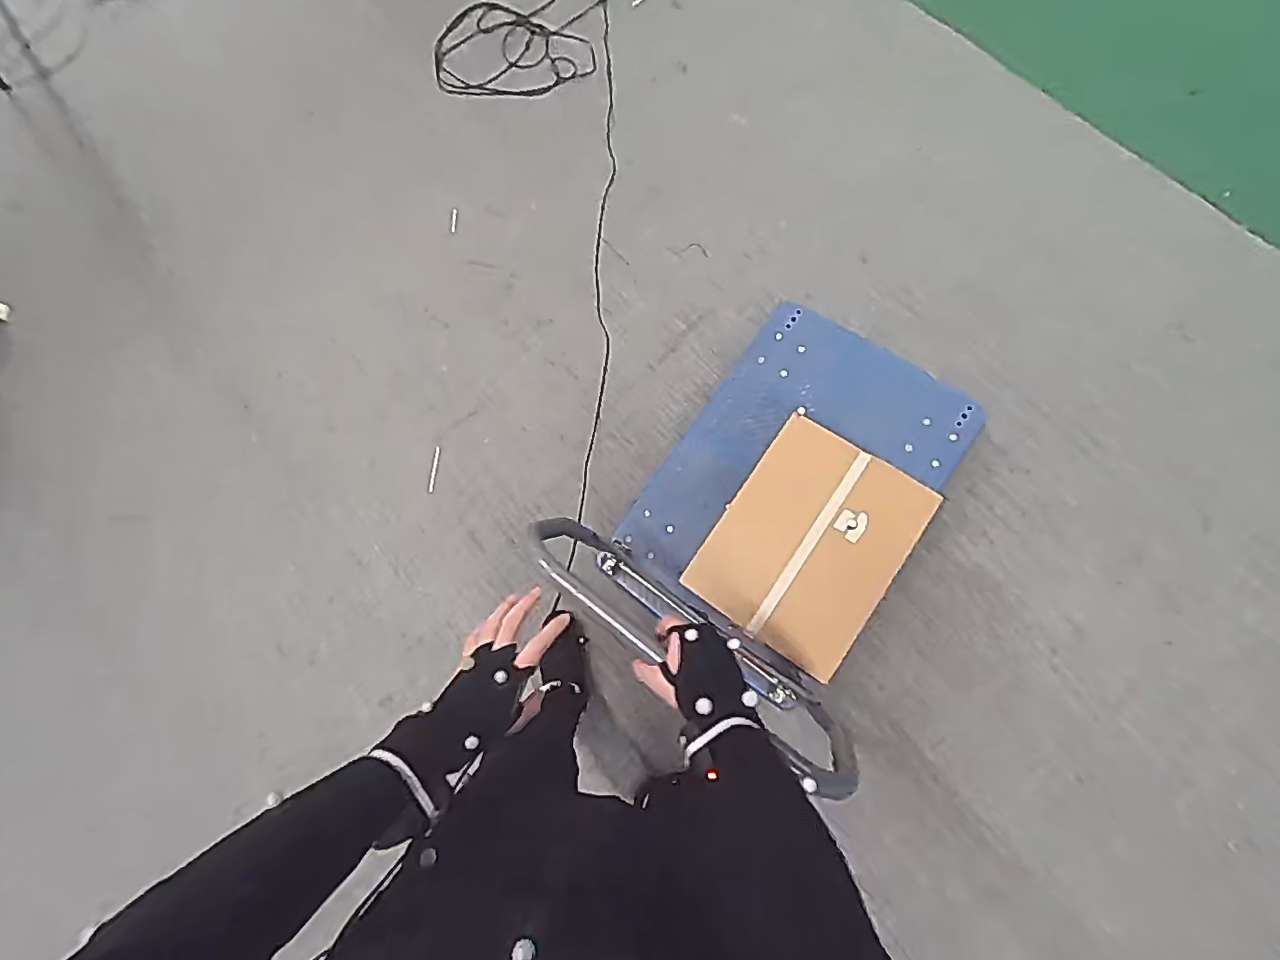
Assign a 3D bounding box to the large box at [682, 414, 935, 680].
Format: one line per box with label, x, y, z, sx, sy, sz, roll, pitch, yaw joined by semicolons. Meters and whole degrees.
large box;0.325;0.148;1.137;0.320;0.320;0.408;34;82;13
